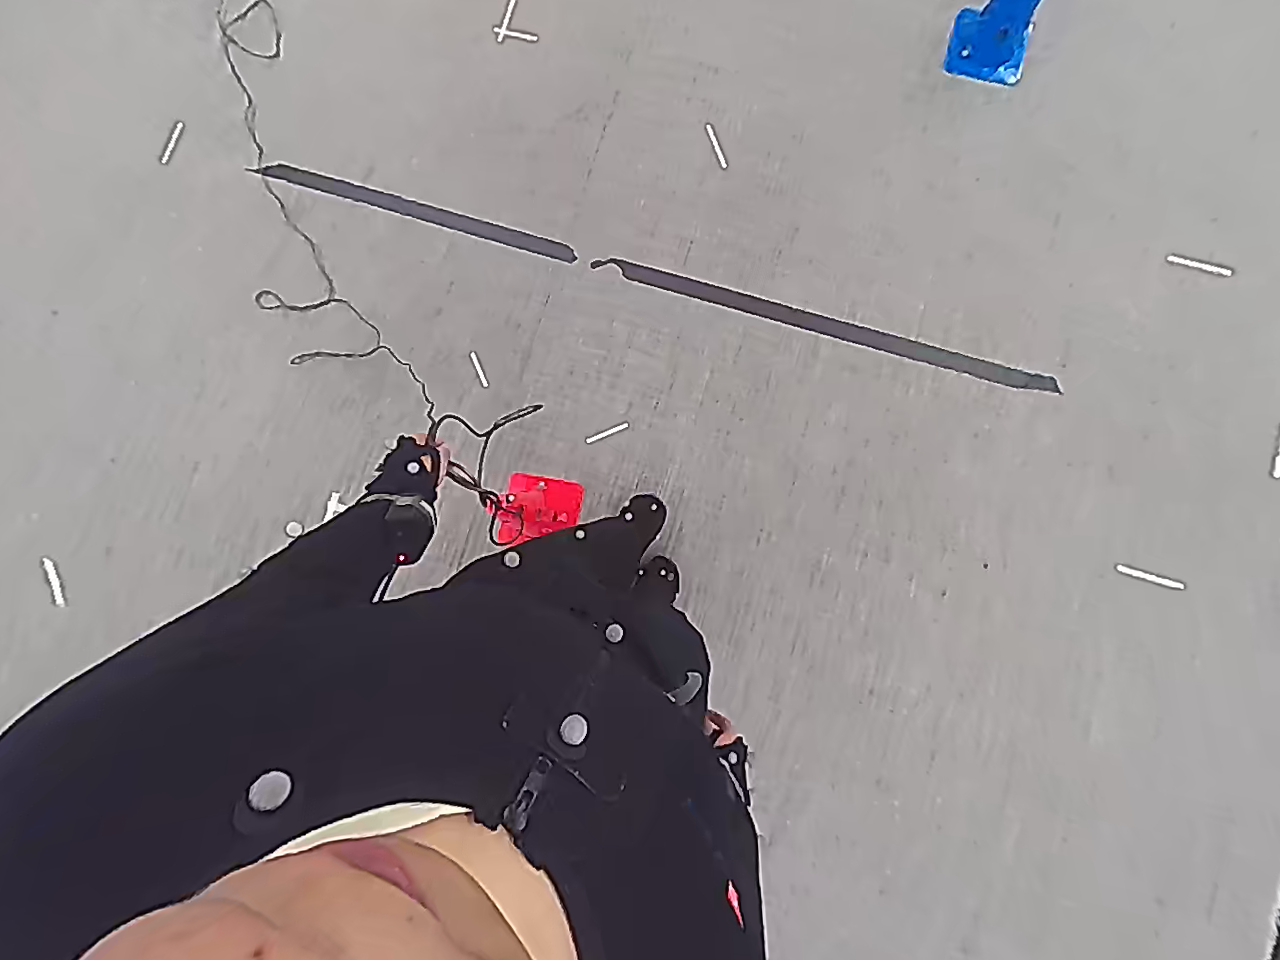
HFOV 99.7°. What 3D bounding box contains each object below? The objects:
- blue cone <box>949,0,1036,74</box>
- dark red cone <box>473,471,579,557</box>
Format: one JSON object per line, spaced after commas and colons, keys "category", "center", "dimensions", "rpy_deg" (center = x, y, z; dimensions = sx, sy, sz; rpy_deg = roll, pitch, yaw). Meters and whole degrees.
{"category": "blue cone", "center": [0.932, -1.215, 1.299], "dimensions": [0.193, 0.380, 0.192], "rpy_deg": [18, 84, 6]}
{"category": "dark red cone", "center": [-0.277, 0.061, 1.203], "dimensions": [0.202, 0.394, 0.201], "rpy_deg": [10, 83, 5]}
